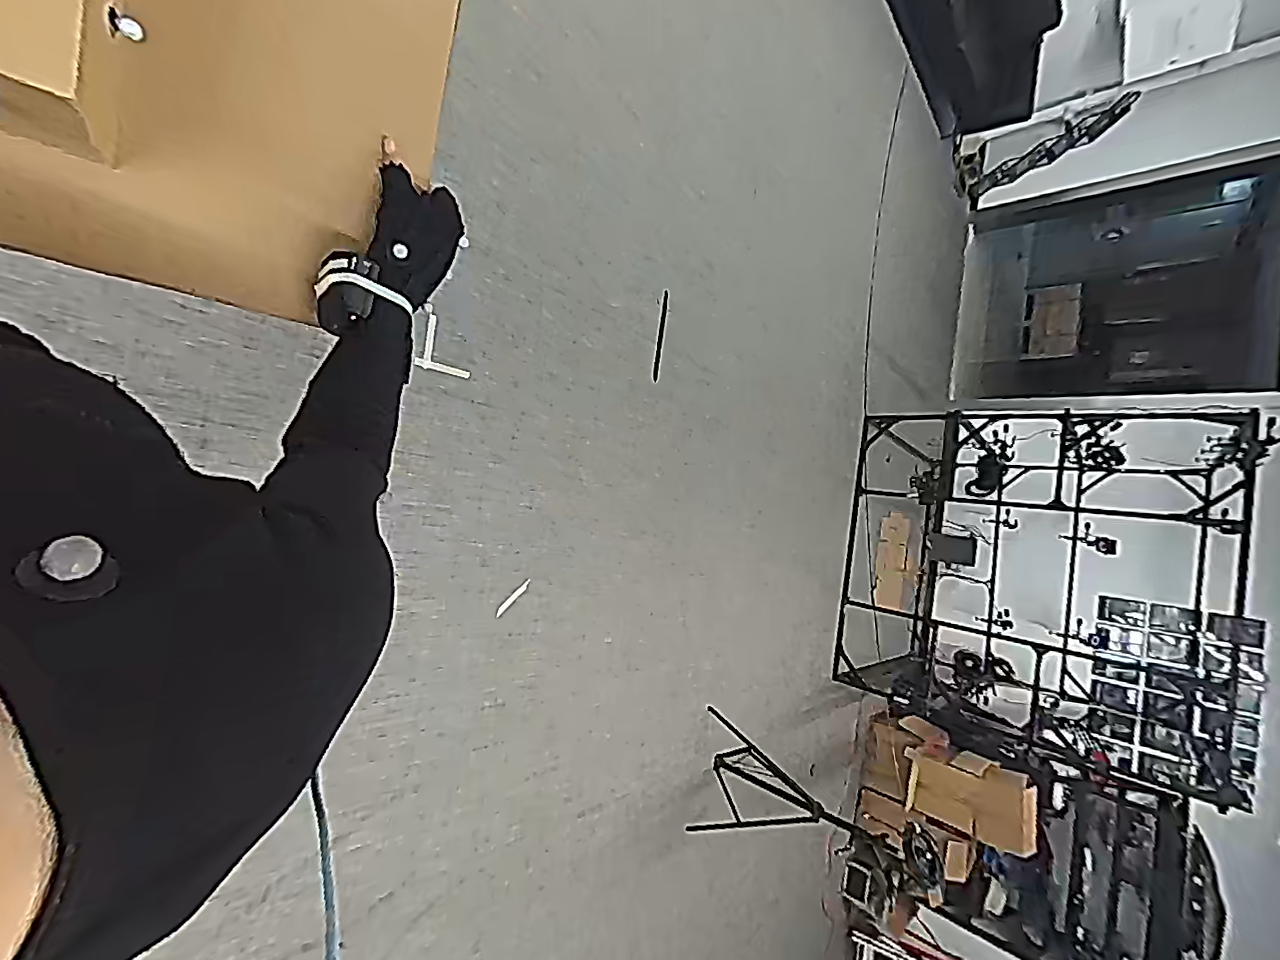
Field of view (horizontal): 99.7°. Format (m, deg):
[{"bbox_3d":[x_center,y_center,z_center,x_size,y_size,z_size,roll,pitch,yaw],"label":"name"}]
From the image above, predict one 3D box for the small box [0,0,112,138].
[{"bbox_3d":[-0.411,-0.316,0.289,0.179,0.176,0.168,7,98,-40],"label":"small box"}]
